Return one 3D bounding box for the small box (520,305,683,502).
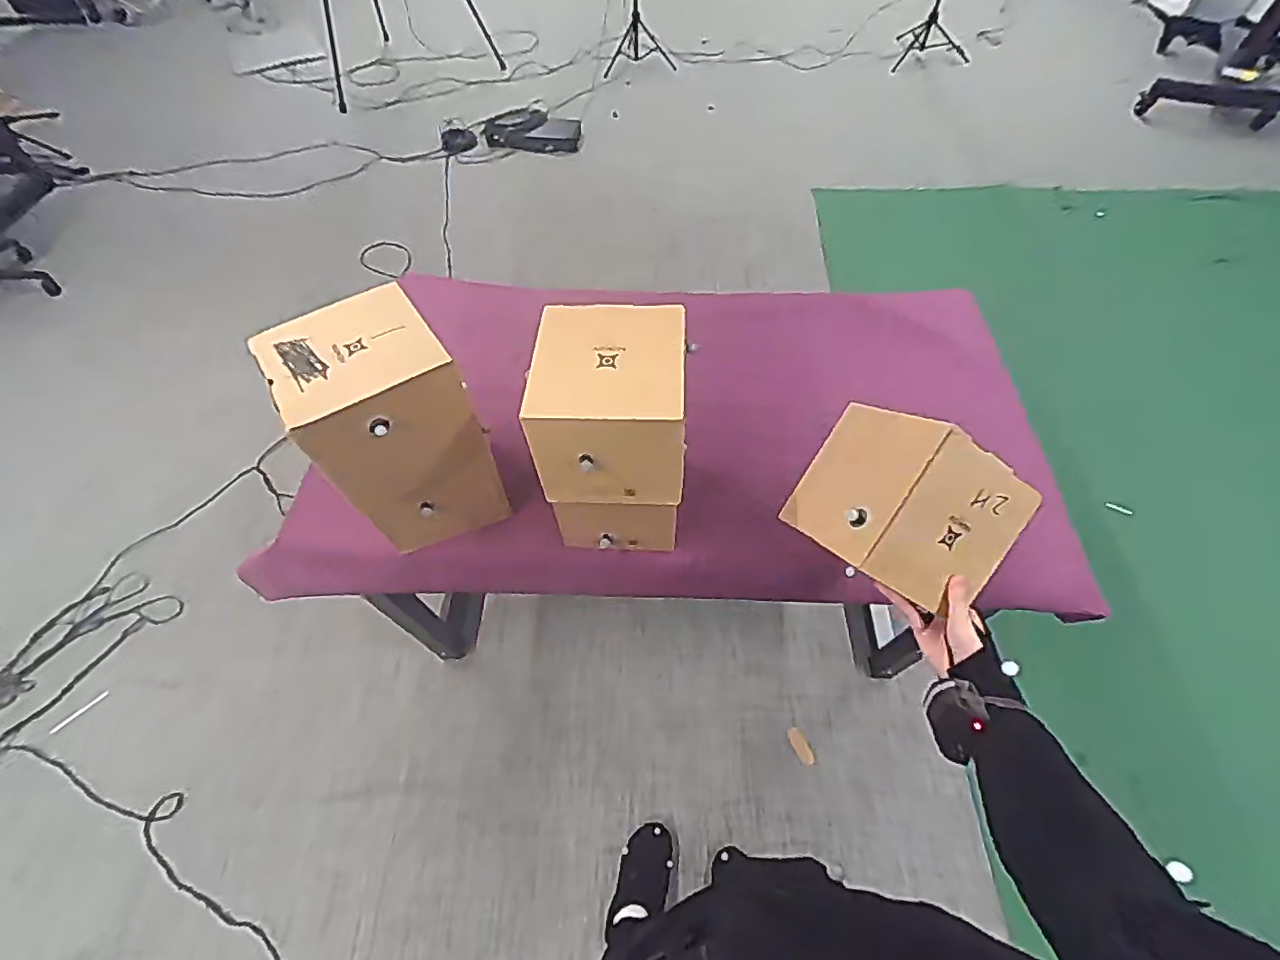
[{"bbox_3d":[-0.032,-0.086,0.647,0.168,0.176,0.179,1,55,3],"label":"small box"}]

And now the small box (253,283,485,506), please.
[{"bbox_3d":[-0.315,-0.099,0.655,0.179,0.176,0.168,-30,61,-19],"label":"small box"}]

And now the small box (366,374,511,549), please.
[{"bbox_3d":[-0.311,-0.021,0.802,0.179,0.176,0.168,-20,59,-11],"label":"small box"}]

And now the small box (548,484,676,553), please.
[{"bbox_3d":[-0.030,-0.011,0.792,0.168,0.176,0.179,2,57,3],"label":"small box"}]

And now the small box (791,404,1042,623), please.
[{"bbox_3d":[0.309,0.031,0.643,0.168,0.176,0.179,30,96,-23],"label":"small box"}]
